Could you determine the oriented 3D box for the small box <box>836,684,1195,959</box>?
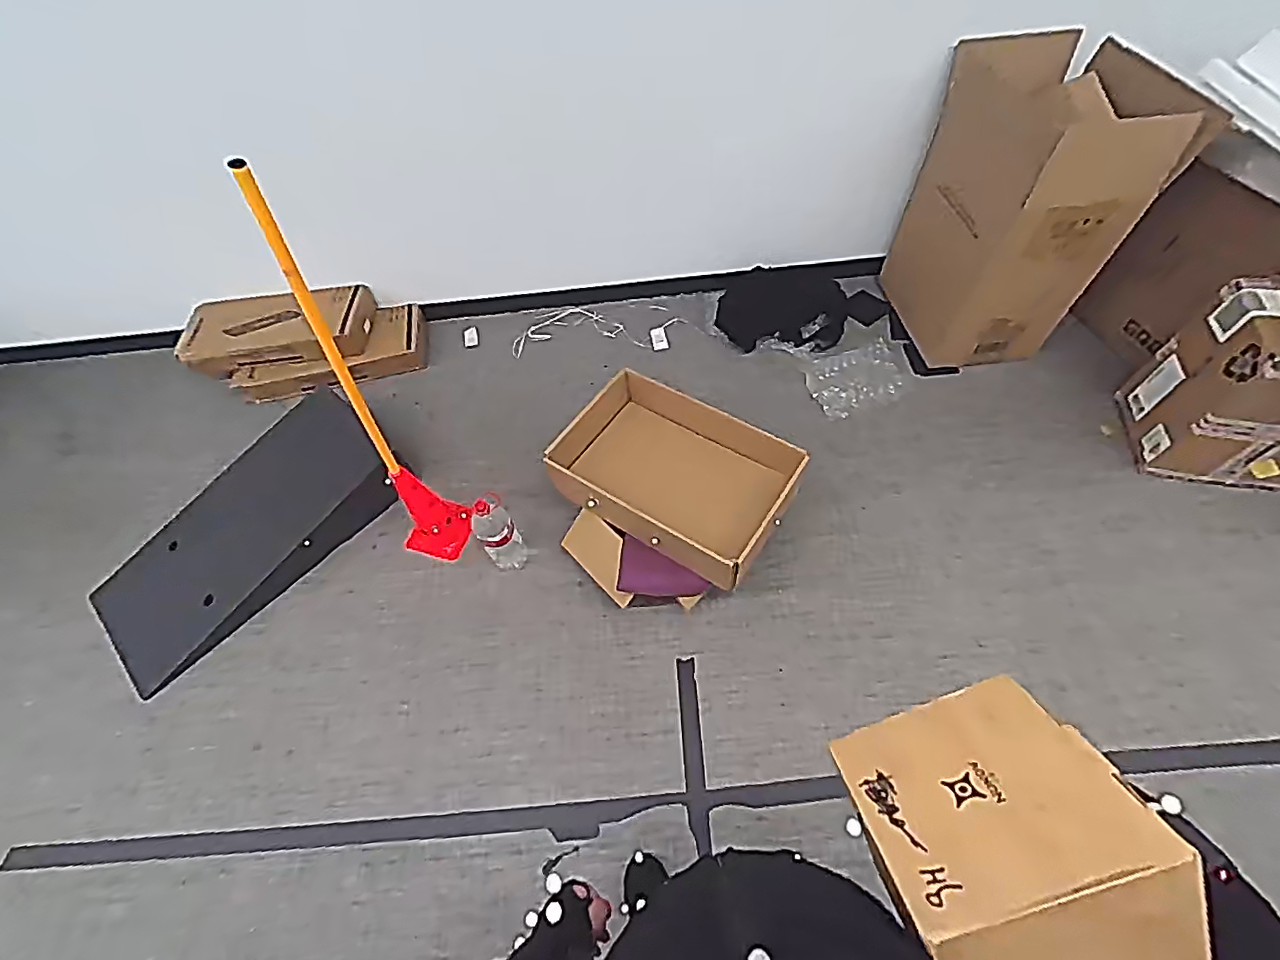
[{"bbox_3d":[0.294,0.312,0.447,0.179,0.176,0.168,-23,17,5],"label":"small box"}]
